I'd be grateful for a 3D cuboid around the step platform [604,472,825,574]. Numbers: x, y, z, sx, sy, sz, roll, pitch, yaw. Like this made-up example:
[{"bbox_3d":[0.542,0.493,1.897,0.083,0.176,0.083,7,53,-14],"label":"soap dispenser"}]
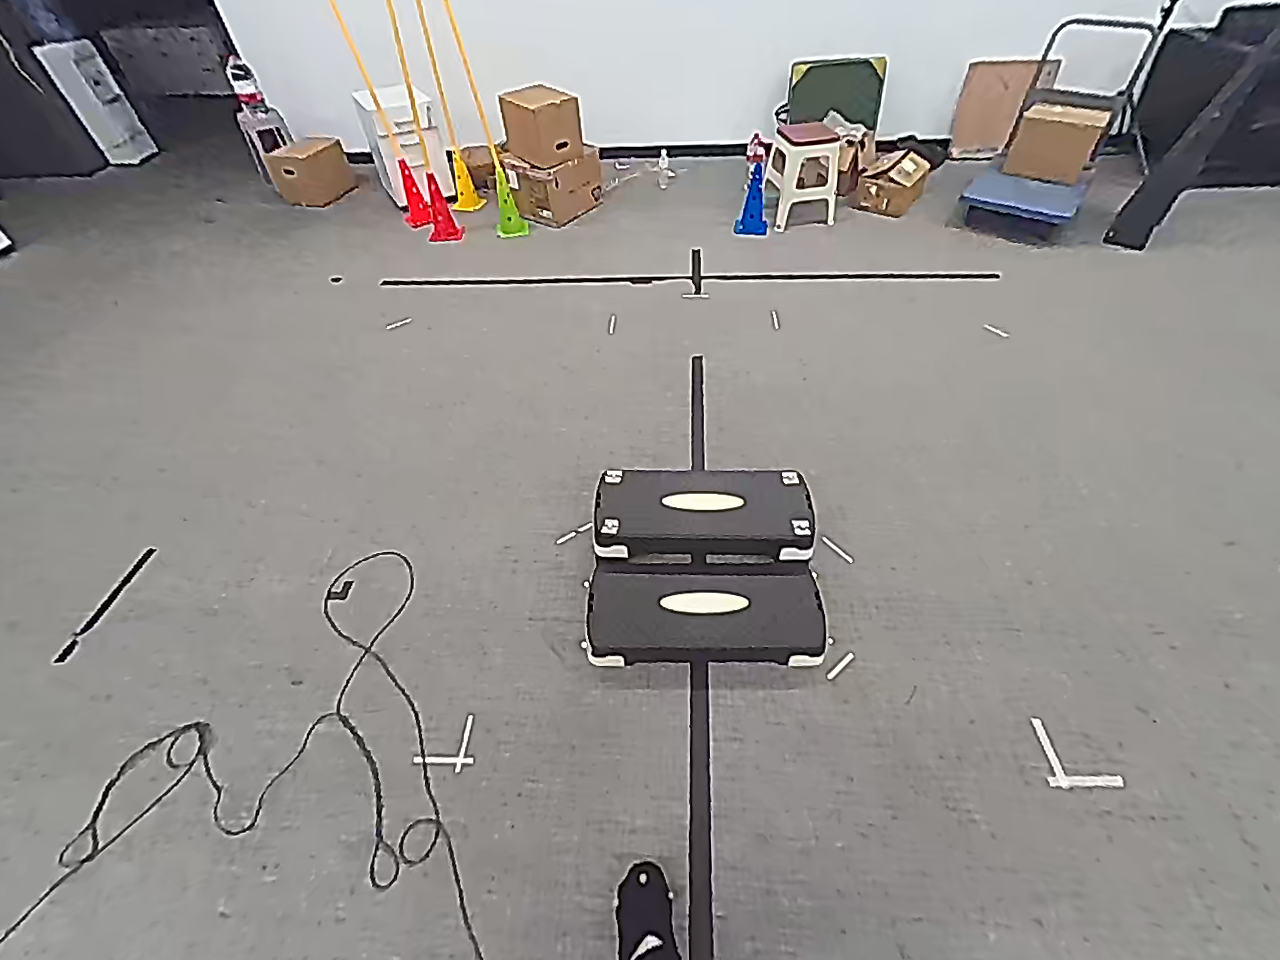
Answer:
[{"bbox_3d":[0.227,0.130,1.727,0.684,0.204,0.286,0,48,2],"label":"step platform"}]
